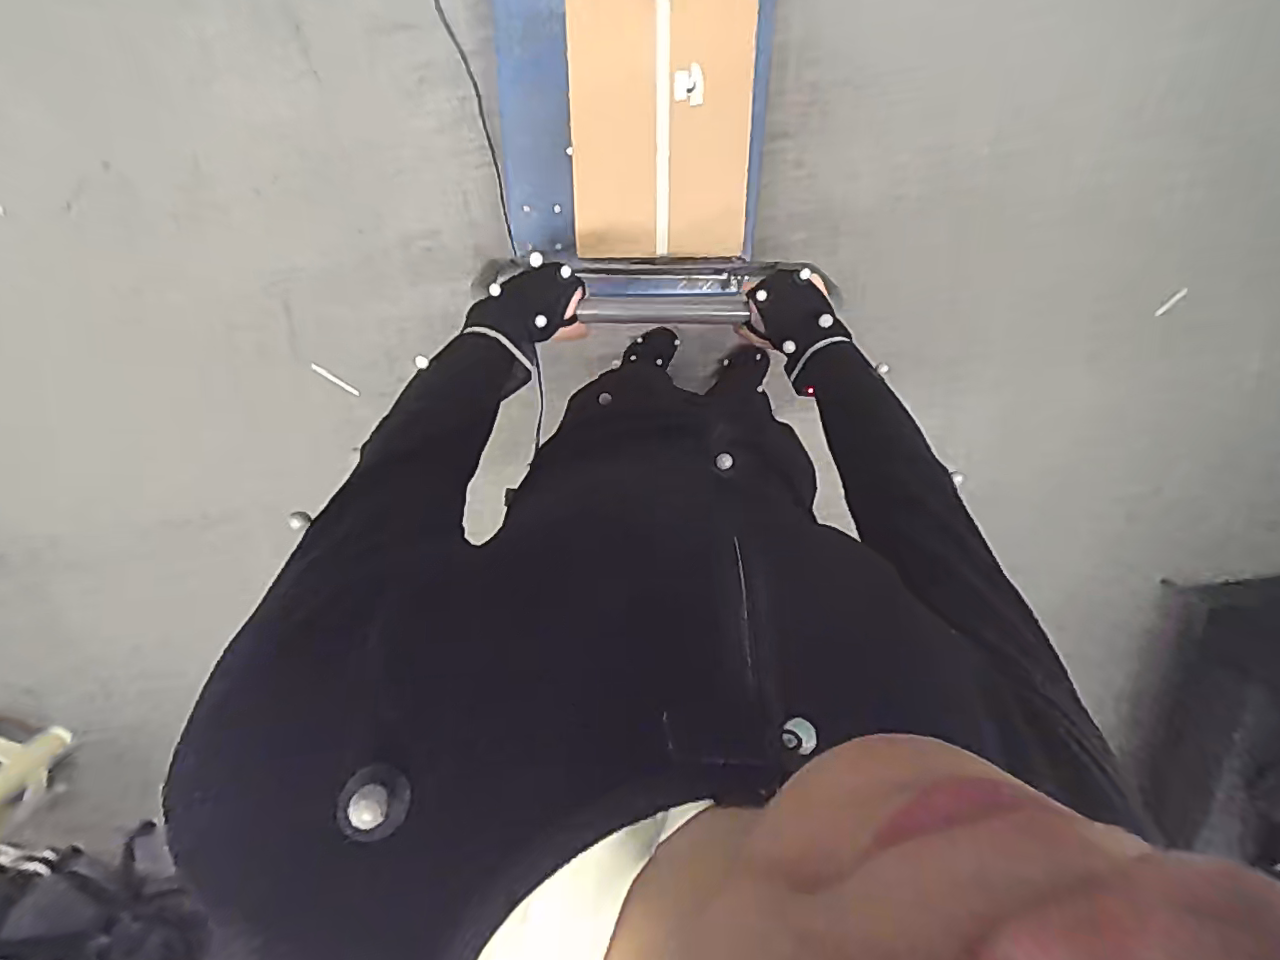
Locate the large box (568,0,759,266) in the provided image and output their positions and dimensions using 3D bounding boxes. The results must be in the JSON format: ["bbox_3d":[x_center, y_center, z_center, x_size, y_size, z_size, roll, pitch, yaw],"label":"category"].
[{"bbox_3d":[0.036,-0.643,1.067,0.320,0.320,0.408,-1,111,-3],"label":"large box"}]
